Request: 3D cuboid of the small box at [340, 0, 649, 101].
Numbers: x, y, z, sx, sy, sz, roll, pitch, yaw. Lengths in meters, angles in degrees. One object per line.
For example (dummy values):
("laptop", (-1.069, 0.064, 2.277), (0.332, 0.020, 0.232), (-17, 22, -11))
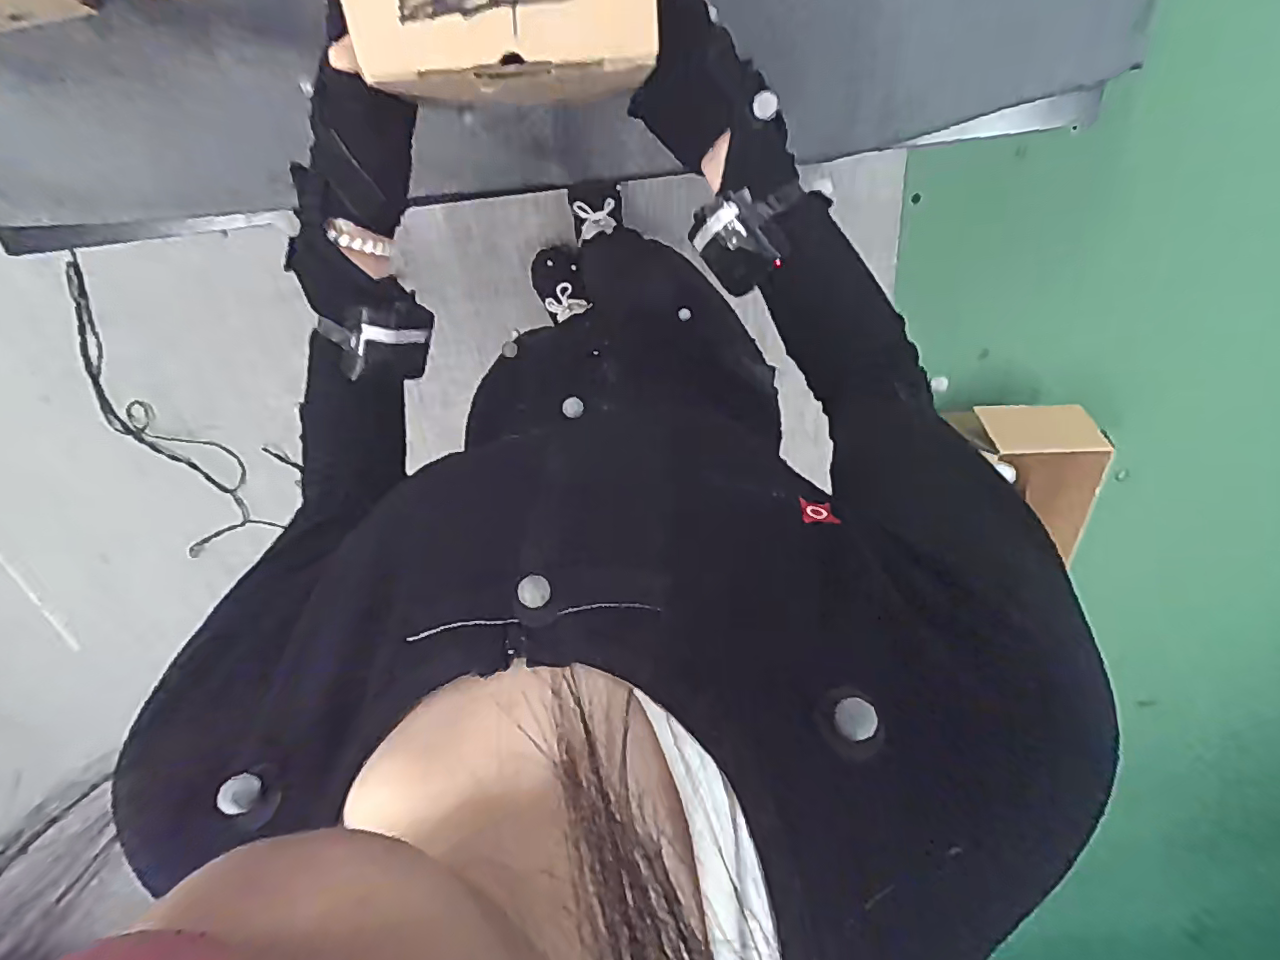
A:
("small box", (-0.086, -0.345, 0.329), (0.168, 0.176, 0.179), (-6, 118, -4))
